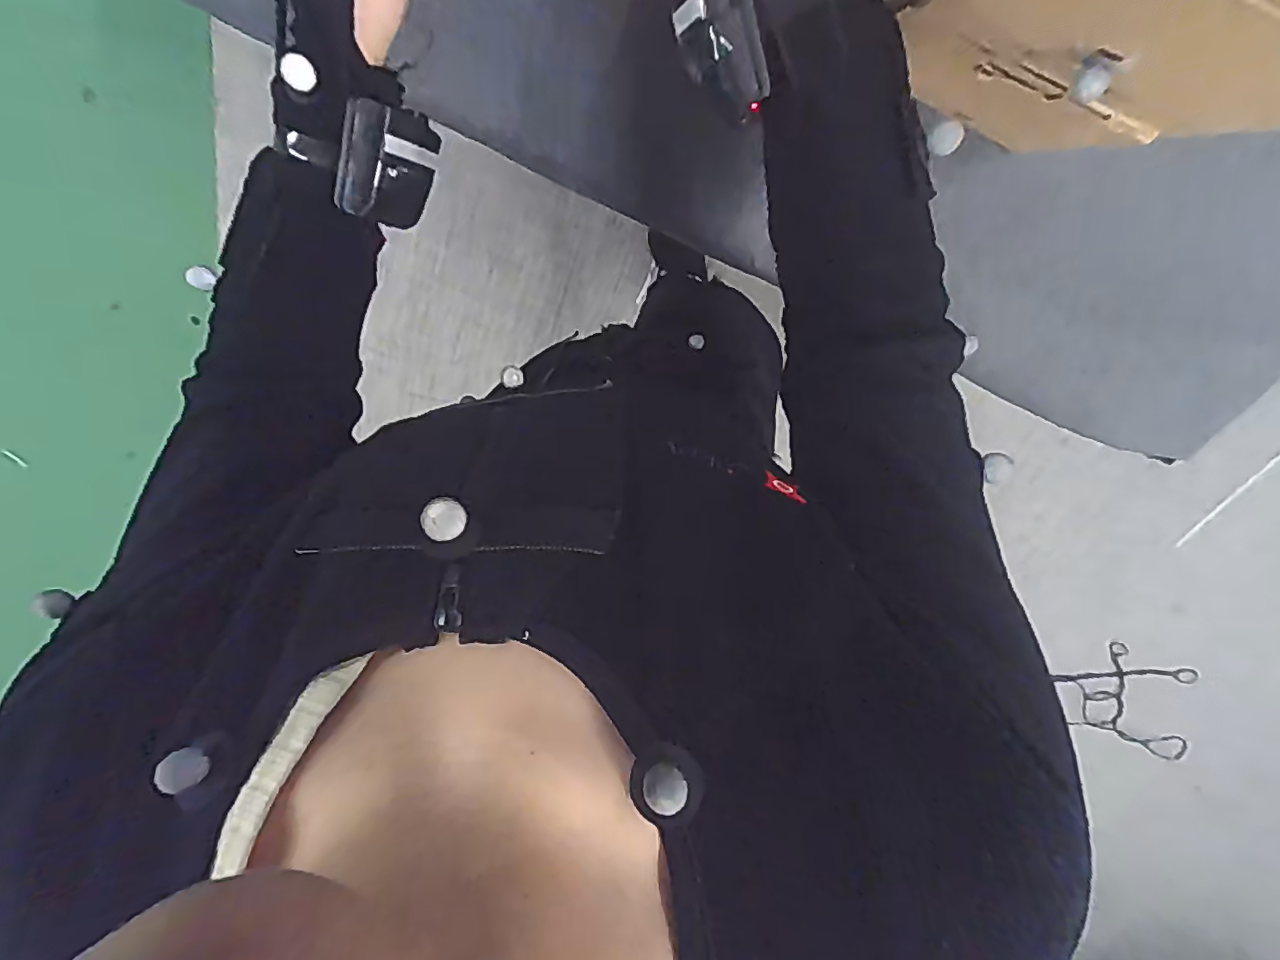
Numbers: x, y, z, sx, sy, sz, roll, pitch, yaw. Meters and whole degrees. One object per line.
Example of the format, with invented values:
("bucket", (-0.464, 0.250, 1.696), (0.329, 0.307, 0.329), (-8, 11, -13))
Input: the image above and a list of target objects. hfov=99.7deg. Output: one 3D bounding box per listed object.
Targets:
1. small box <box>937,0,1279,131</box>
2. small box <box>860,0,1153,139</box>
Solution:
("small box", (0.239, -0.247, 0.180), (0.168, 0.176, 0.179), (21, 121, -4))
("small box", (0.256, -0.330, 0.322), (0.168, 0.176, 0.179), (23, 120, -6))
